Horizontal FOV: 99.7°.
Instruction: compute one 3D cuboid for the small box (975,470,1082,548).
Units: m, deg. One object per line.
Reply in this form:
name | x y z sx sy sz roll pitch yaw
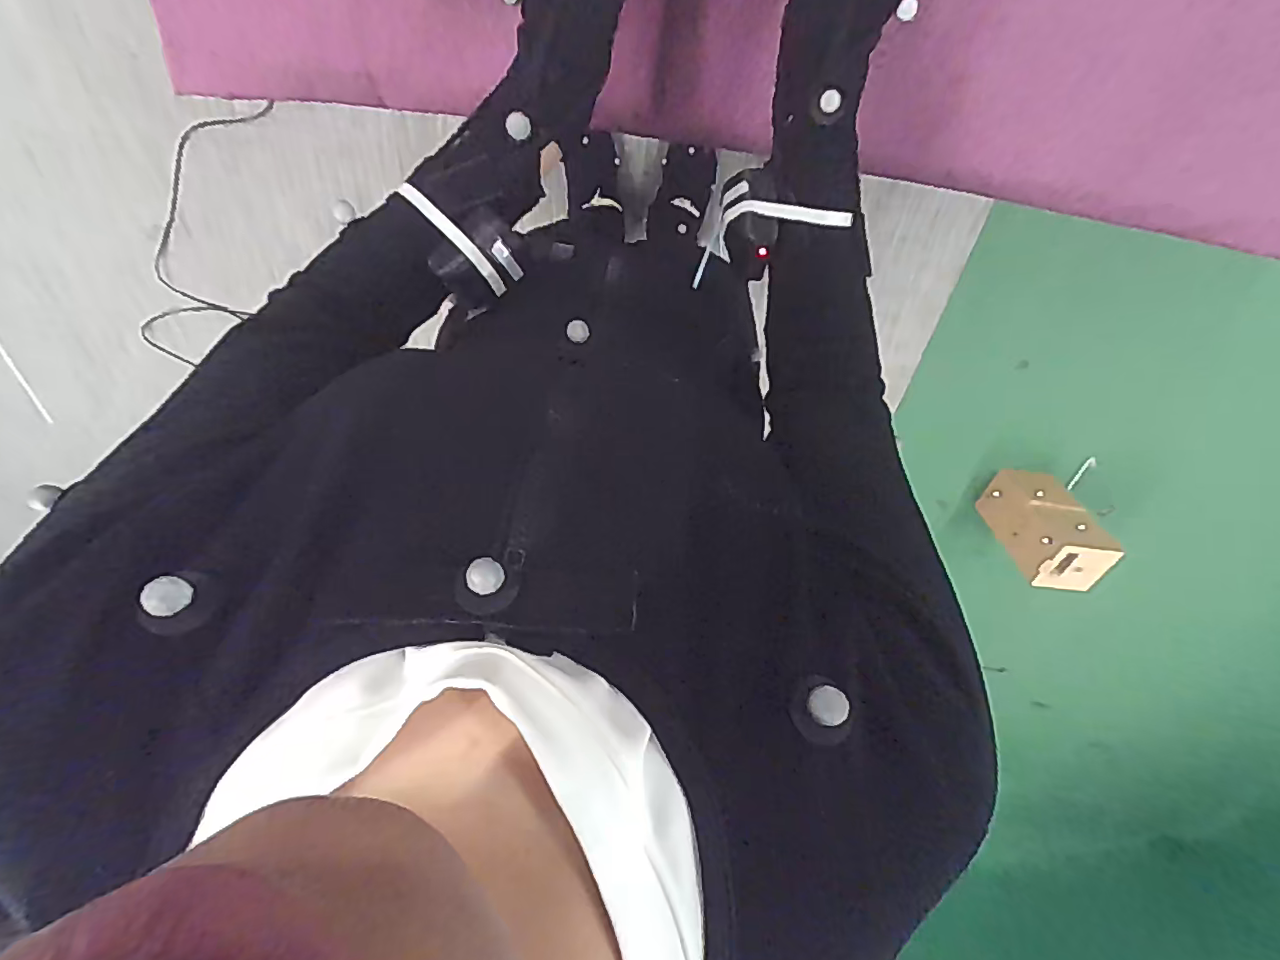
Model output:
small box | 1.194 0.088 1.678 0.179 0.176 0.168 9 129 -4
